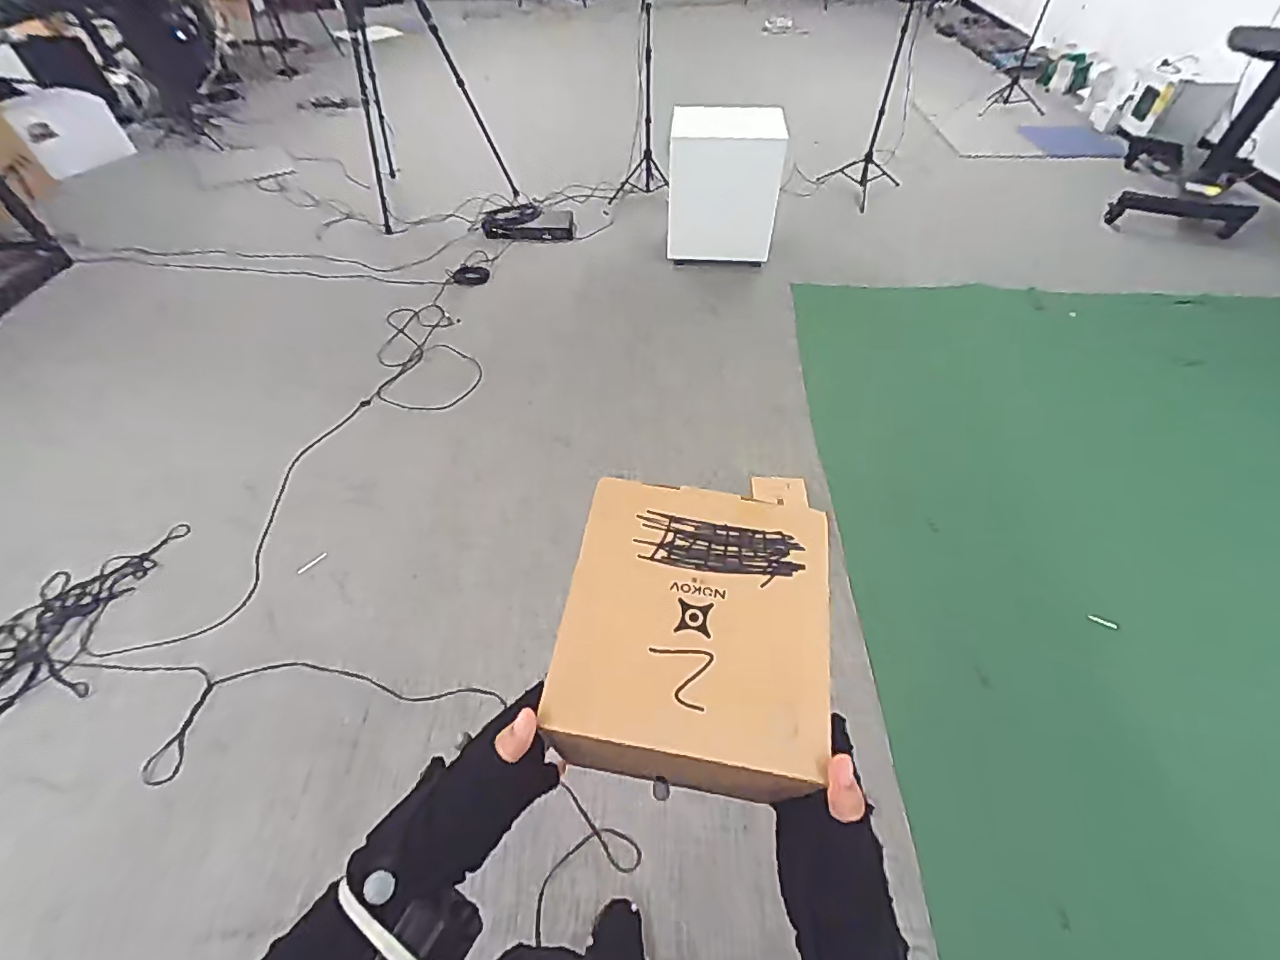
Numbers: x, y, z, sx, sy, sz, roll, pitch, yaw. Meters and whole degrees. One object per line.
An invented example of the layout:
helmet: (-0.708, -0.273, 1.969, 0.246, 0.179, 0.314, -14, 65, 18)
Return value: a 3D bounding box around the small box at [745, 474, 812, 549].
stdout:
small box: (0.427, 0.102, 1.692, 0.168, 0.176, 0.179, 2, 51, 2)
